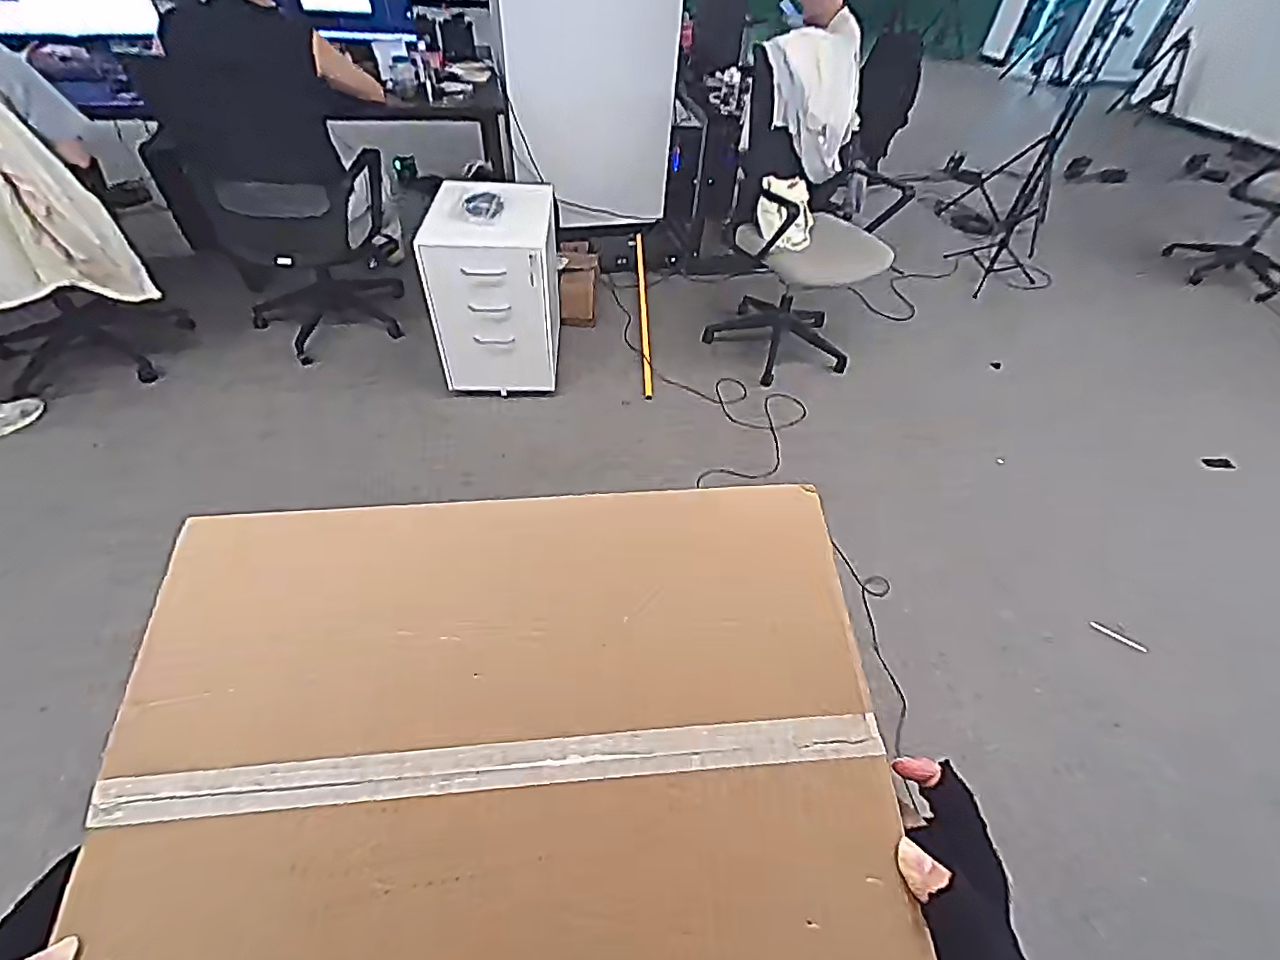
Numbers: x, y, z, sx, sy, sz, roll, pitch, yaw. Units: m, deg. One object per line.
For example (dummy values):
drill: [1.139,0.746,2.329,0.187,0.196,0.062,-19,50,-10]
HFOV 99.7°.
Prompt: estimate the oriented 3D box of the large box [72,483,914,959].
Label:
large box: [-0.078,0.218,0.431,0.408,0.320,0.320,-3,63,-3]
